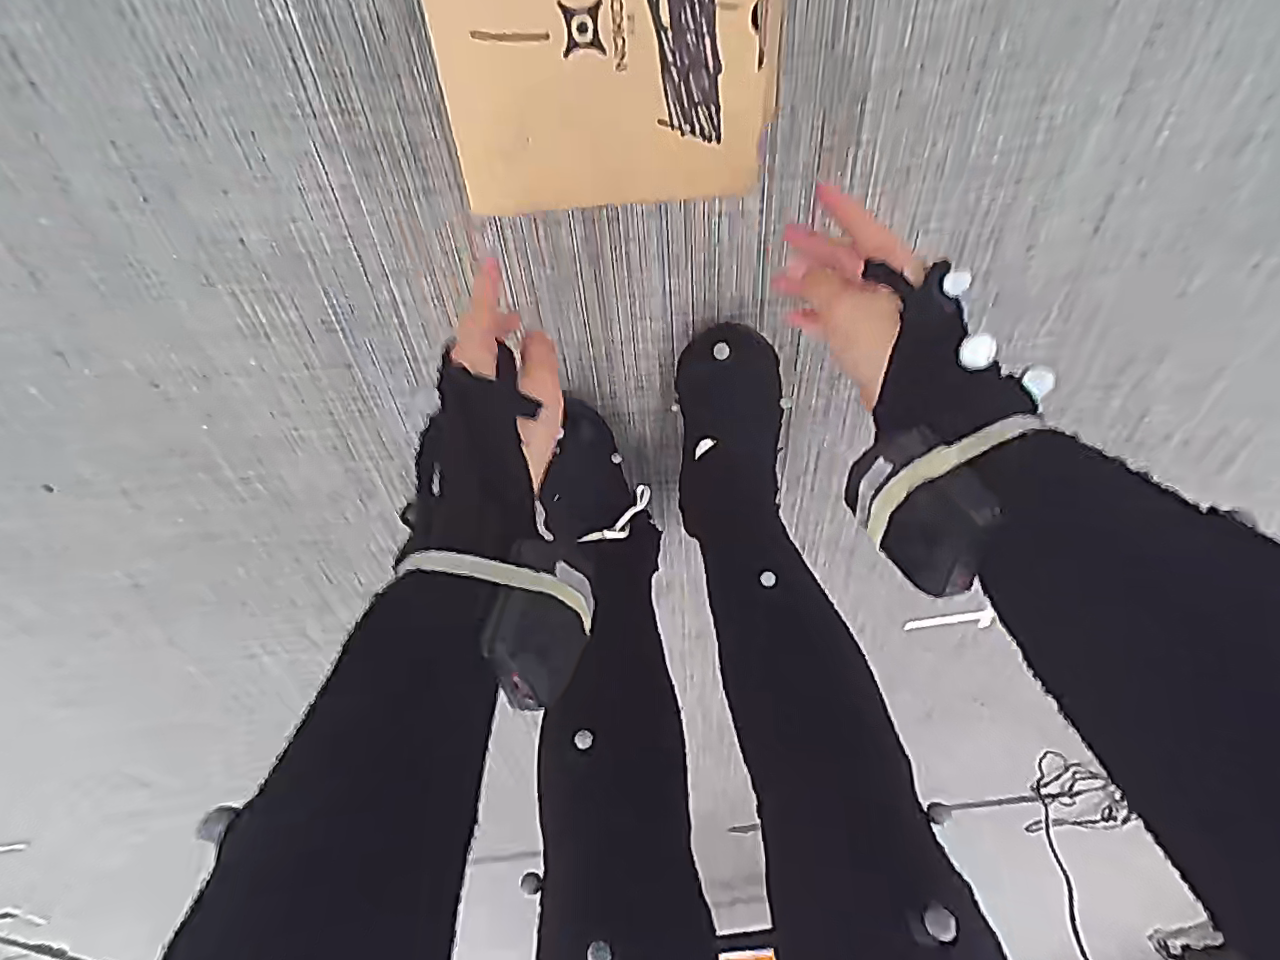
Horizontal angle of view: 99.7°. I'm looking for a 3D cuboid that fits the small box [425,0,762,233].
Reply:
[{"bbox_3d":[-0.027,-0.277,0.355,0.179,0.176,0.168,-5,128,-1],"label":"small box"}]
